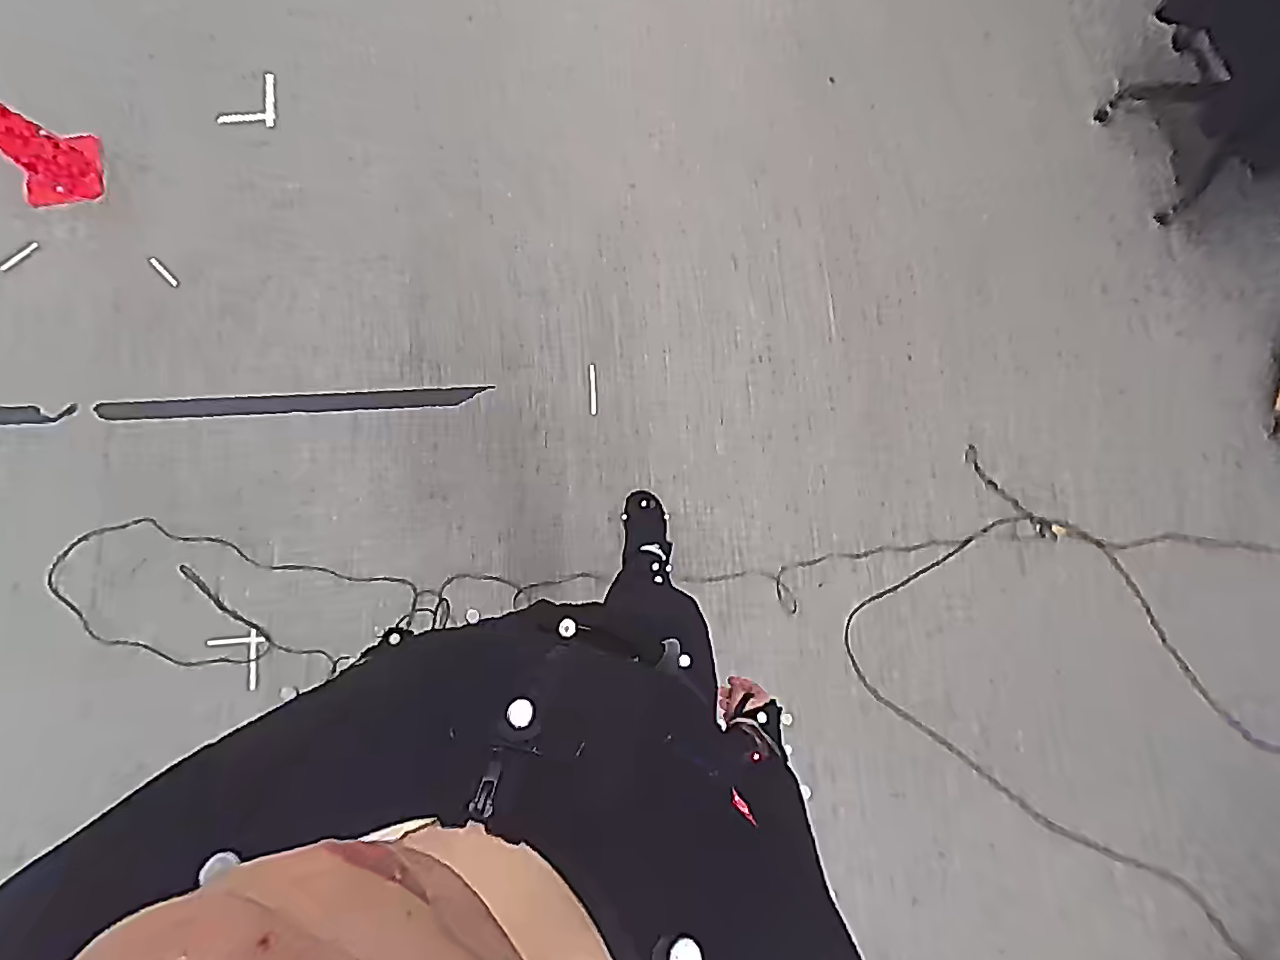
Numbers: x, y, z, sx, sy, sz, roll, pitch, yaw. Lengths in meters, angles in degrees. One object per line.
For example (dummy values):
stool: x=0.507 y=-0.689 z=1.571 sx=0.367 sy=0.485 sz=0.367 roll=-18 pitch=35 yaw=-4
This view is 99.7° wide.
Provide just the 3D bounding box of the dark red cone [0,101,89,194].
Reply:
dark red cone: x=-1.593 y=-0.892 z=1.295 sx=0.202 sy=0.394 sz=0.201 roll=-11 pitch=83 yaw=-3
